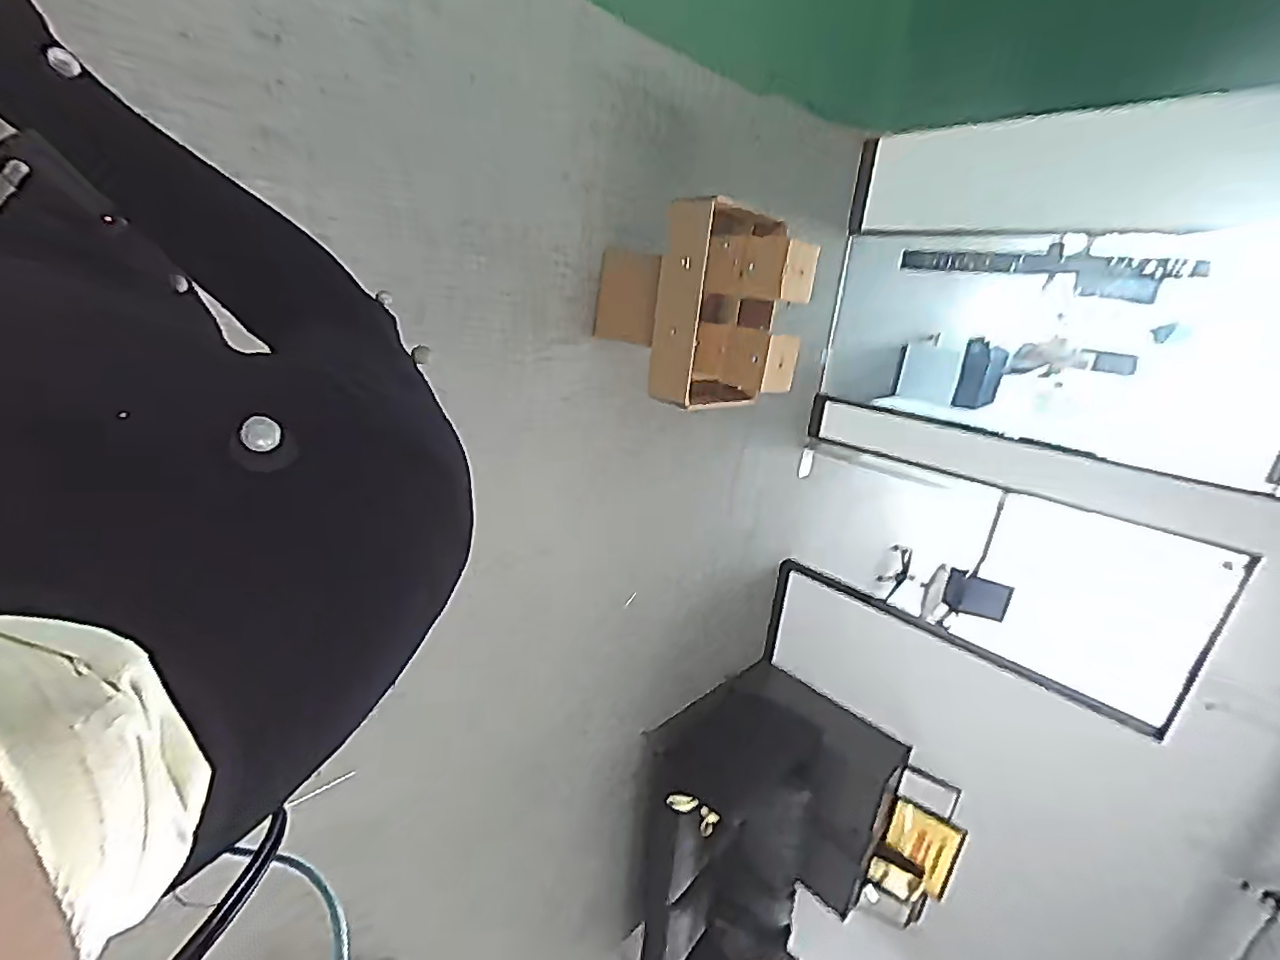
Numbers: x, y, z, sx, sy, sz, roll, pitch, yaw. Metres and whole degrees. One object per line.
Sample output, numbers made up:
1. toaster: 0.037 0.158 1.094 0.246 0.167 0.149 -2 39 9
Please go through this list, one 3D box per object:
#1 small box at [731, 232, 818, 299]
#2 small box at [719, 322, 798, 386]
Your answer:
1. small box: 0.401 -0.644 1.623 0.179 0.176 0.168 -13 117 -44
2. small box: 0.370 -0.400 1.712 0.168 0.176 0.179 -10 116 -43
